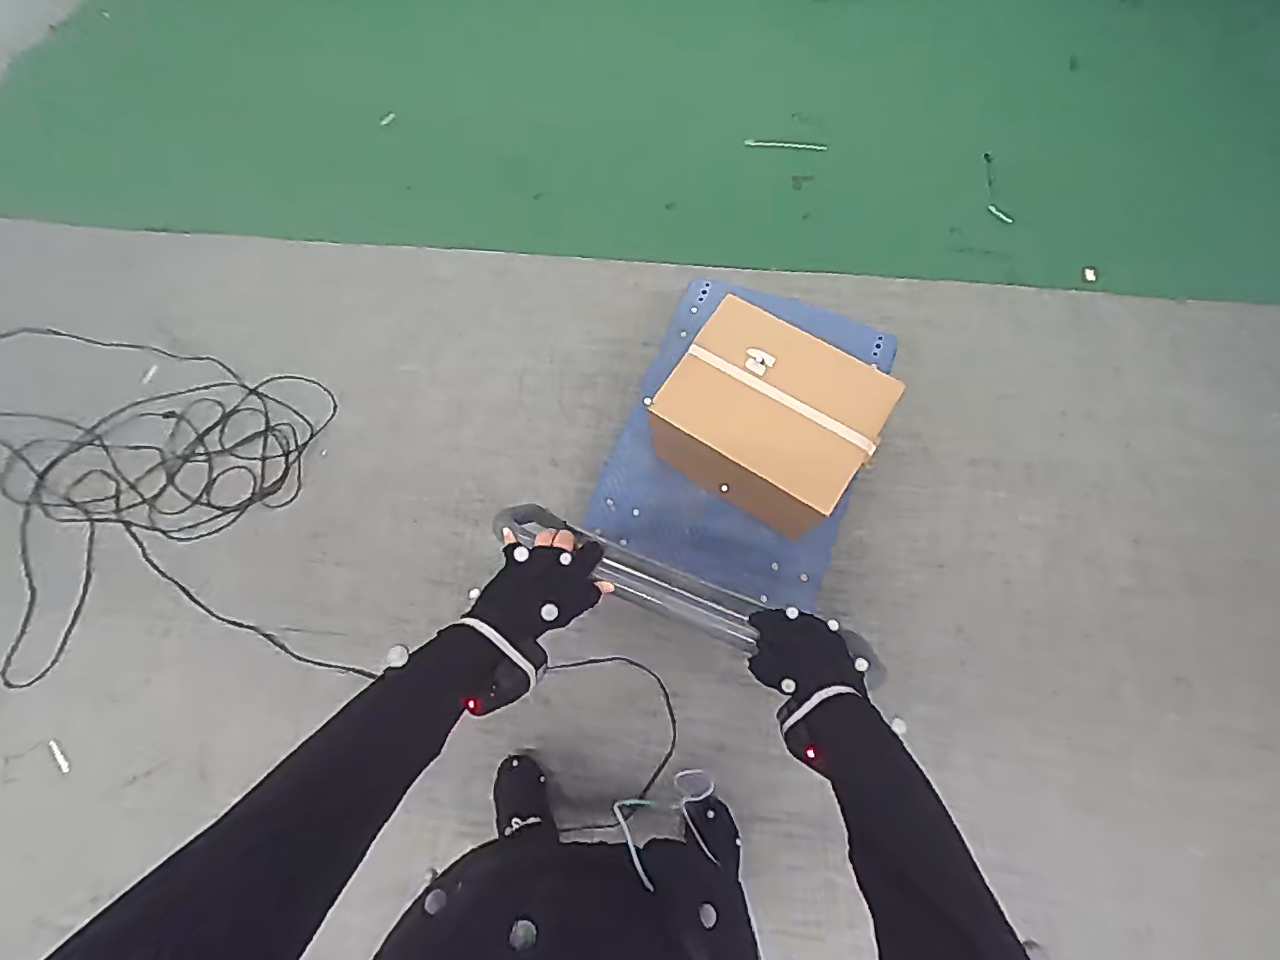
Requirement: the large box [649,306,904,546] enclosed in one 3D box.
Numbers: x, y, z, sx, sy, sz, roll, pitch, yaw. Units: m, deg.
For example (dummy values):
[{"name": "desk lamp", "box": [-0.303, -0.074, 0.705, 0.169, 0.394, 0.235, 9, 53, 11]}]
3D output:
[{"name": "large box", "box": [0.279, -0.102, 1.200, 0.408, 0.320, 0.320, 33, 78, 13]}]
